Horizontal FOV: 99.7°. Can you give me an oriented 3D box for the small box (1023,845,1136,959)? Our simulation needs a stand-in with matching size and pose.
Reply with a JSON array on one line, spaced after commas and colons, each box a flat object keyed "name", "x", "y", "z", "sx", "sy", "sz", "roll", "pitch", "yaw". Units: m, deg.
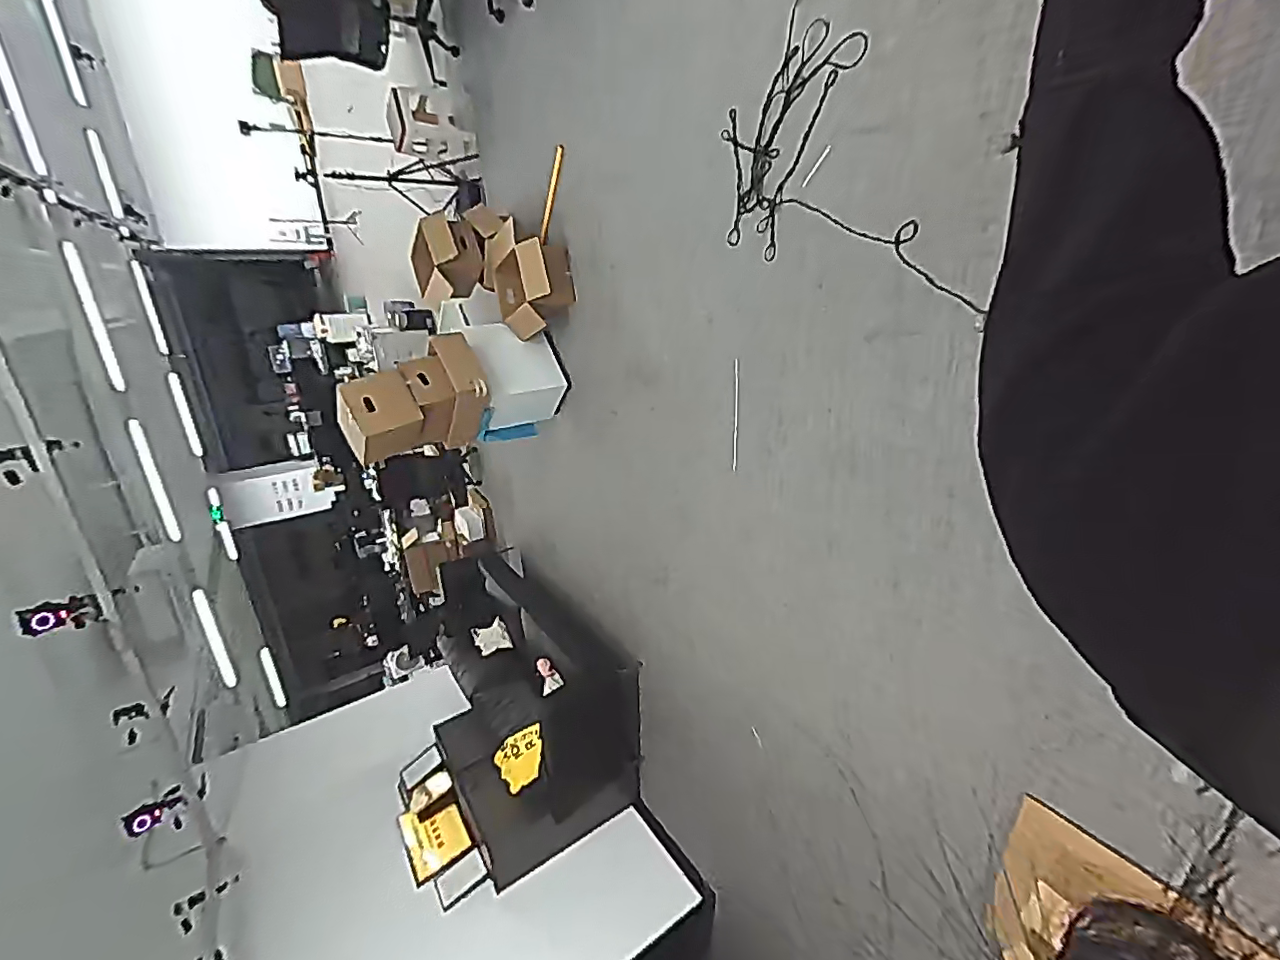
[{"name": "small box", "x": 1.171, "y": 1.130, "z": 1.439, "sx": 0.168, "sy": 0.176, "sz": 0.179, "roll": 32, "pitch": 130, "yaw": 49}]

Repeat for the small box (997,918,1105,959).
[{"name": "small box", "x": 1.176, "y": 1.369, "z": 1.532, "sx": 0.179, "sy": 0.176, "sz": 0.168, "roll": 46, "pitch": 138, "yaw": 41}]
